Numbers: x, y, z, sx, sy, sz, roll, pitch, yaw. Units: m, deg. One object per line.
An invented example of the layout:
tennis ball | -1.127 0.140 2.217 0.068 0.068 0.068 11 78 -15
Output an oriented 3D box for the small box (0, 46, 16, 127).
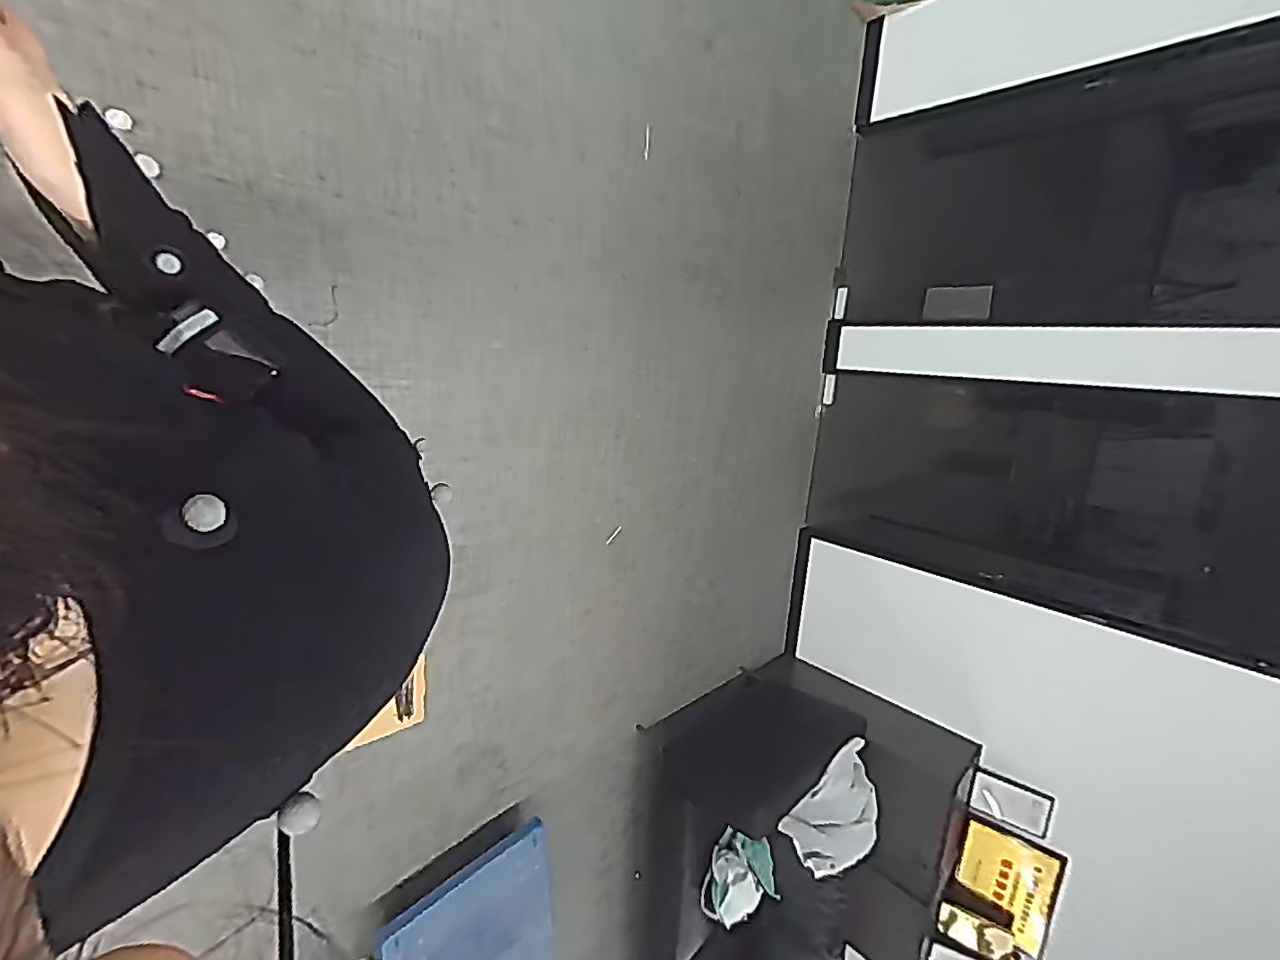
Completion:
small box | -0.458 -0.291 0.265 0.168 0.176 0.179 -15 122 -40
